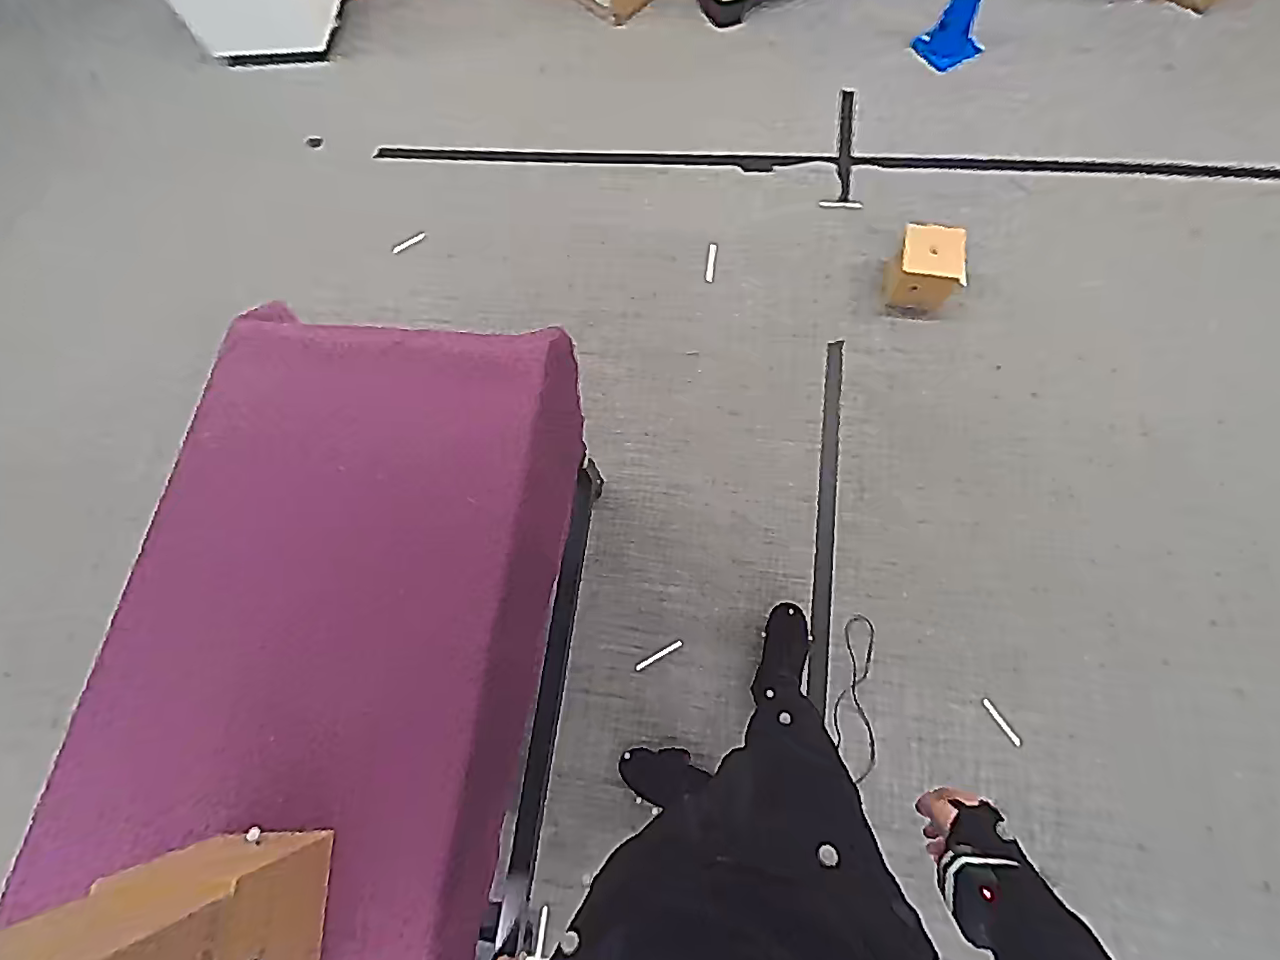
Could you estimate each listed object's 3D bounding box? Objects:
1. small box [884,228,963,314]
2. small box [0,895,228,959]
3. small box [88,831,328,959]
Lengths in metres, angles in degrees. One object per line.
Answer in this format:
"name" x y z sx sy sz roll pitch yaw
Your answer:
"small box" 0.860 -0.633 1.652 0.168 0.176 0.179 10 73 8
"small box" -0.511 0.485 0.462 0.179 0.176 0.168 -5 72 3
"small box" -0.491 0.529 0.620 0.168 0.176 0.179 -4 71 3
